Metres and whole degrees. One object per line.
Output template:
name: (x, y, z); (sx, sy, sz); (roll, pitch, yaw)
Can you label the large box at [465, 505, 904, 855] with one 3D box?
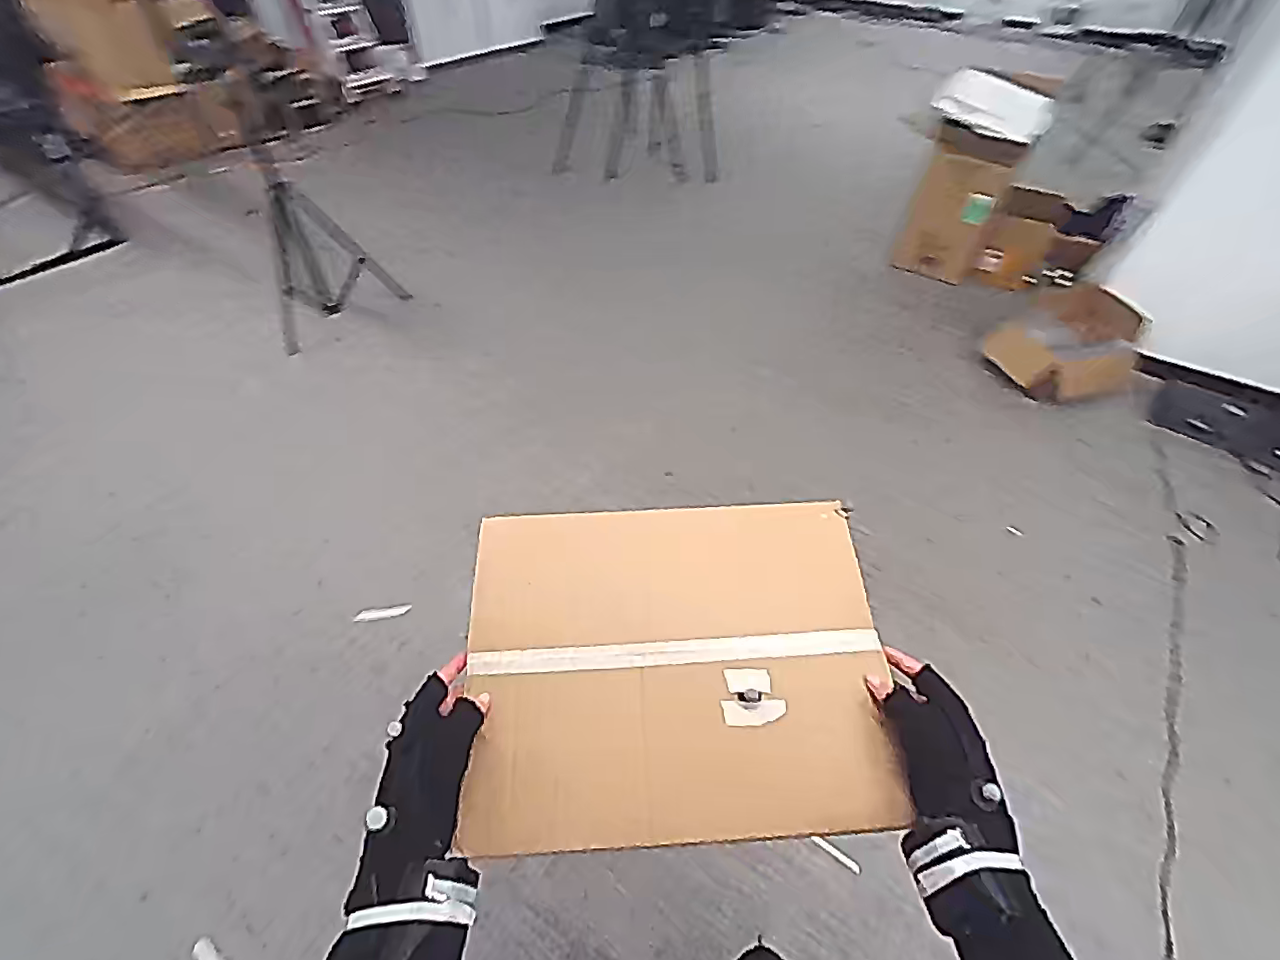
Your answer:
large box: (0.027, 0.249, 0.678); (0.408, 0.320, 0.320); (-3, 61, -3)
